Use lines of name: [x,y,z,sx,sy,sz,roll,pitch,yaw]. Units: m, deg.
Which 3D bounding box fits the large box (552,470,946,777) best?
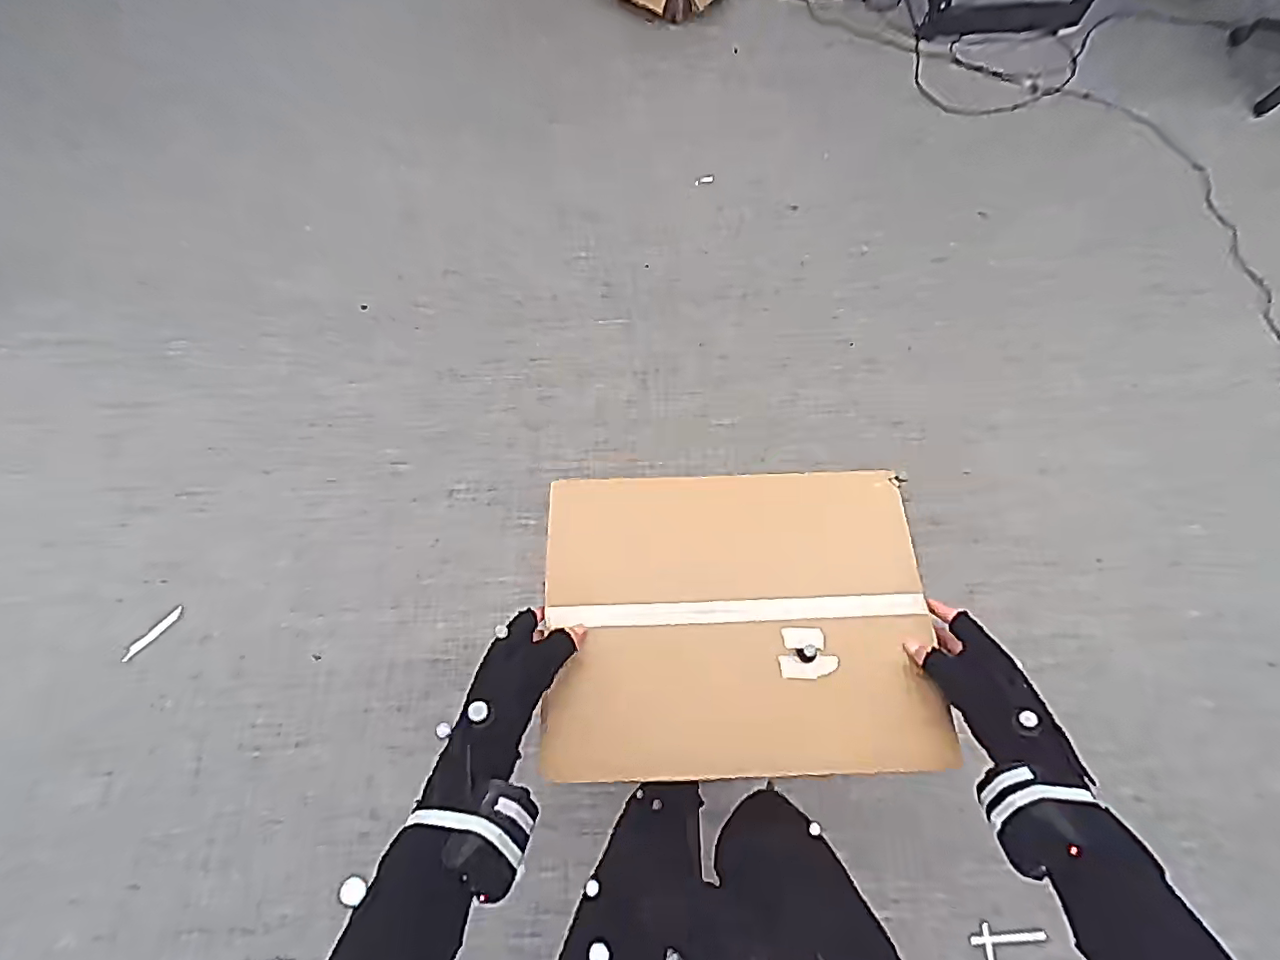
large box: [0.101,0.196,0.728,0.408,0.320,0.320,-2,68,-1]
